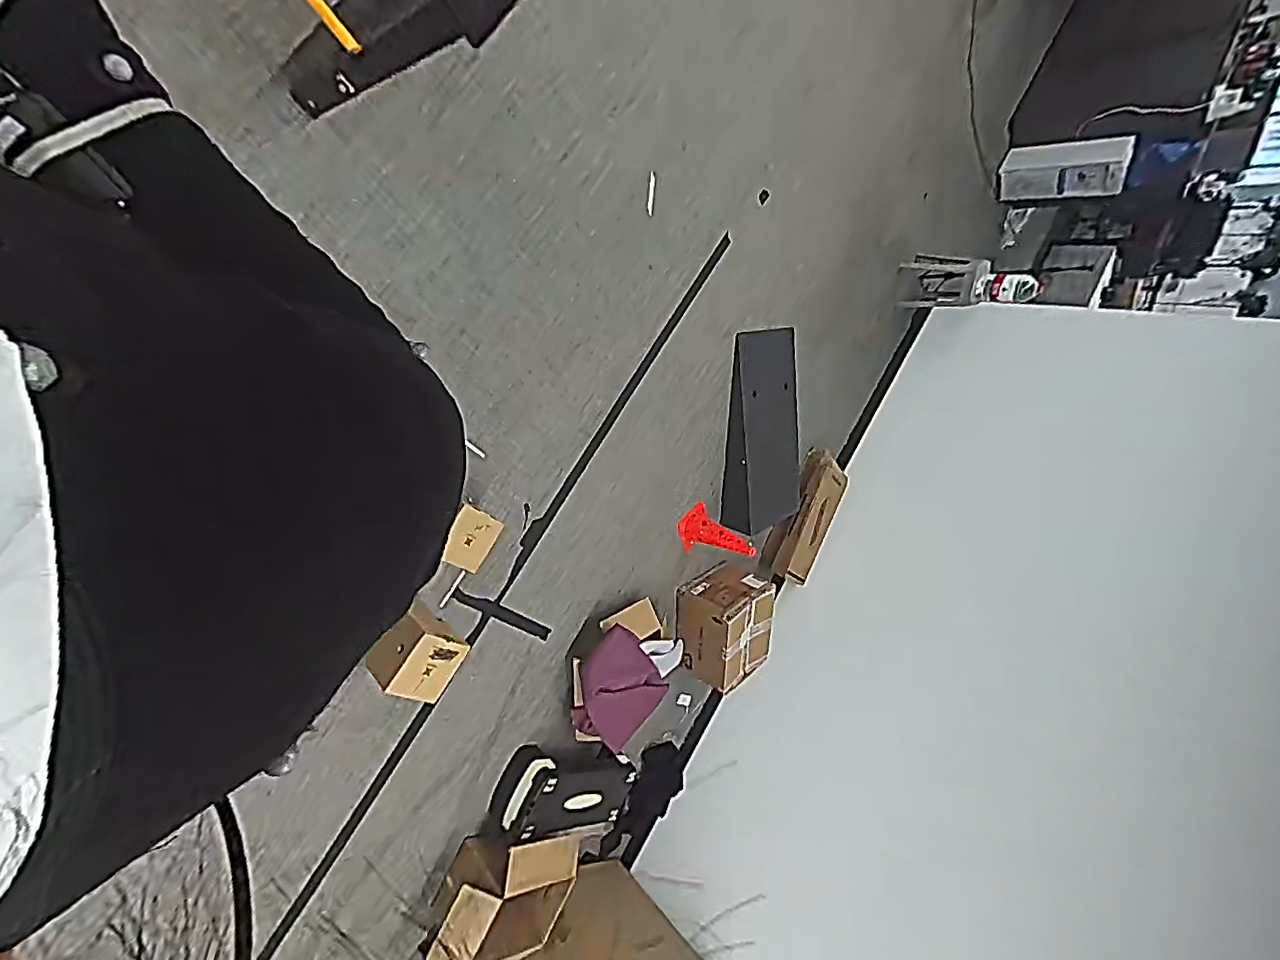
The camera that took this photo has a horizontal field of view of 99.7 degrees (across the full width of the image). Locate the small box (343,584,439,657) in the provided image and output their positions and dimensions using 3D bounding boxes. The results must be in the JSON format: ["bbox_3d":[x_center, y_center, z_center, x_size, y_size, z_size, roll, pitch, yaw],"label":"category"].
[{"bbox_3d":[-0.727,0.425,1.584,0.168,0.176,0.179,-57,137,-12],"label":"small box"}]

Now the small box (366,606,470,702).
[{"bbox_3d":[-0.609,0.470,1.476,0.179,0.176,0.168,-57,138,-10],"label":"small box"}]

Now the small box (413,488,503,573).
[{"bbox_3d":[-0.557,0.150,1.639,0.168,0.176,0.179,40,76,-48],"label":"small box"}]
